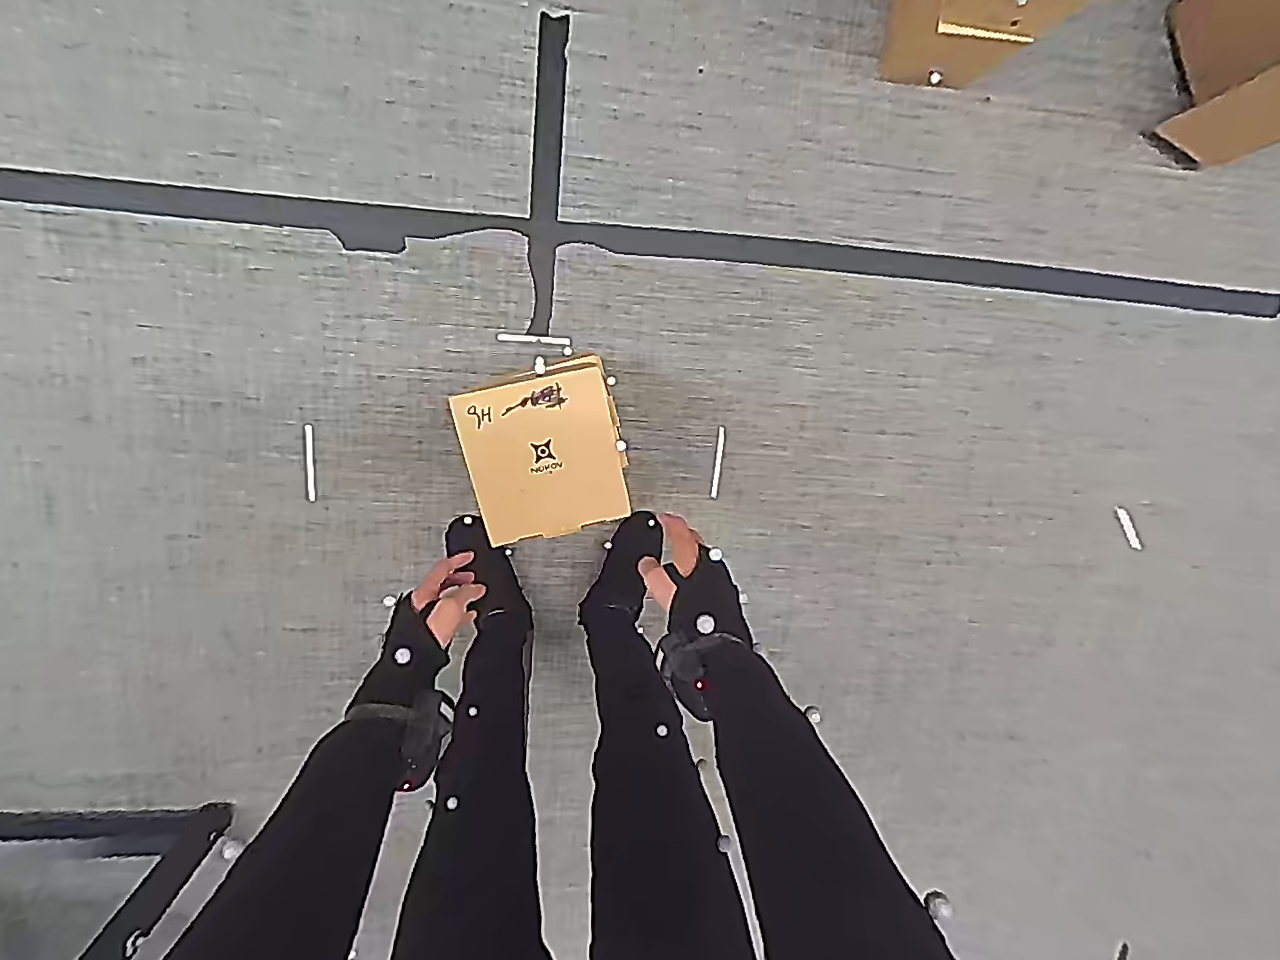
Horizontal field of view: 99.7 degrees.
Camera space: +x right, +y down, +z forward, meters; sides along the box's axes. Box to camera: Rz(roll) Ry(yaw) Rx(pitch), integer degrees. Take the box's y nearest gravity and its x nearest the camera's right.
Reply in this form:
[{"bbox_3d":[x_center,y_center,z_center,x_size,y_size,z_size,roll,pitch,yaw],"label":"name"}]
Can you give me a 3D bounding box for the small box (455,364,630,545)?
[{"bbox_3d":[-0.112,-0.042,0.678,0.168,0.176,0.179,-12,105,-4],"label":"small box"}]
